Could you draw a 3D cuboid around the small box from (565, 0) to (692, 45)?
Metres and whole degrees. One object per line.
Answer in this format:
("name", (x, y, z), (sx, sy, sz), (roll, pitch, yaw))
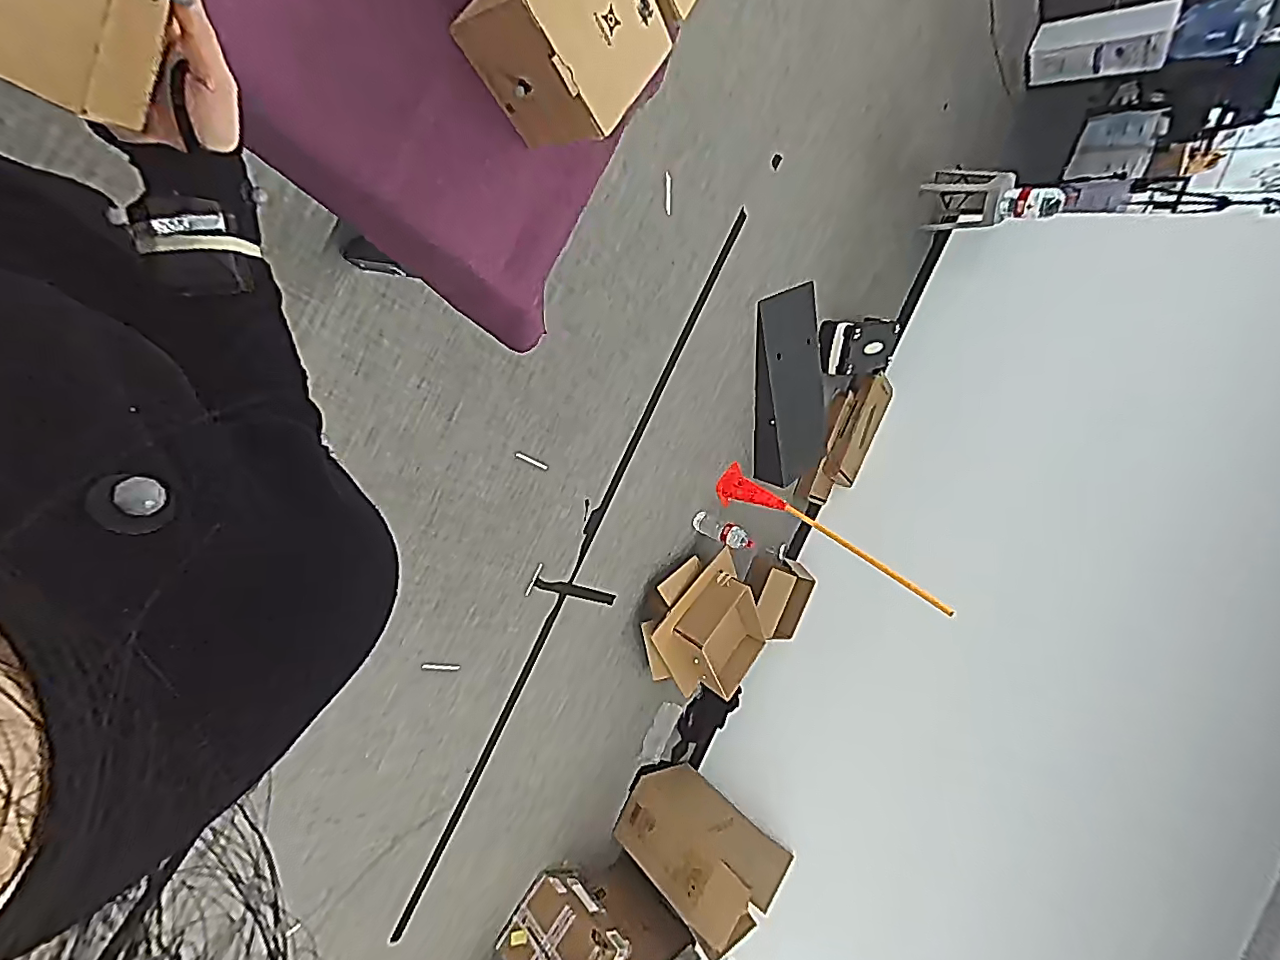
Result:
("small box", (-0.013, -0.733, 0.717), (0.168, 0.176, 0.179), (35, 81, -51))

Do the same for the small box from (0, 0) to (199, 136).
("small box", (-0.312, -0.291, 0.243), (0.168, 0.176, 0.179), (18, 105, -41))
